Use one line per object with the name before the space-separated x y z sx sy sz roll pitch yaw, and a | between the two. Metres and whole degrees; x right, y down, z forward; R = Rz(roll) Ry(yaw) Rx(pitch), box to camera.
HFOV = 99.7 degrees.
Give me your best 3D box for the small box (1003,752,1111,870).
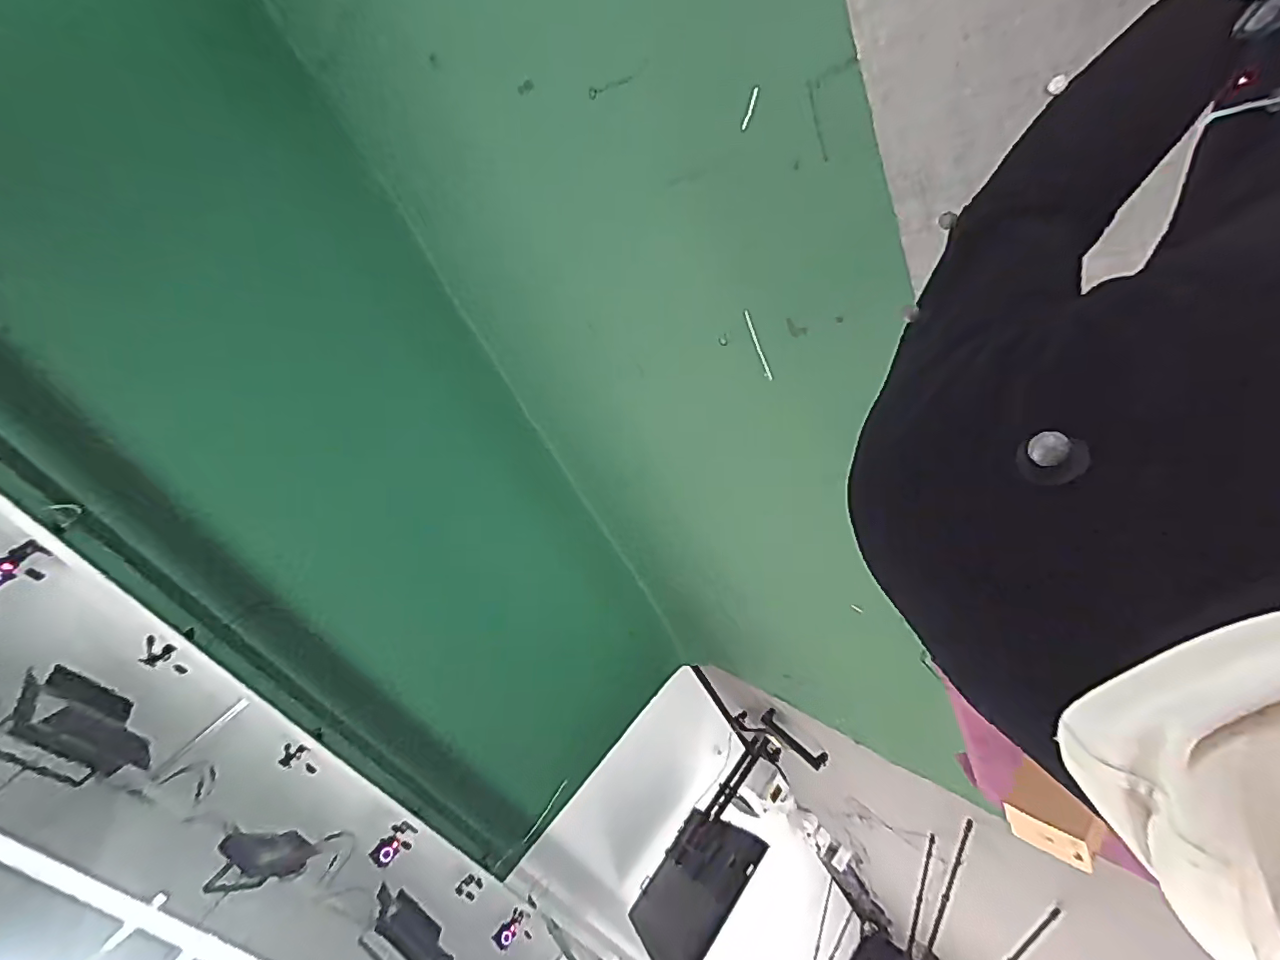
small box | 1.077 0.840 1.395 0.179 0.176 0.168 8 136 52
